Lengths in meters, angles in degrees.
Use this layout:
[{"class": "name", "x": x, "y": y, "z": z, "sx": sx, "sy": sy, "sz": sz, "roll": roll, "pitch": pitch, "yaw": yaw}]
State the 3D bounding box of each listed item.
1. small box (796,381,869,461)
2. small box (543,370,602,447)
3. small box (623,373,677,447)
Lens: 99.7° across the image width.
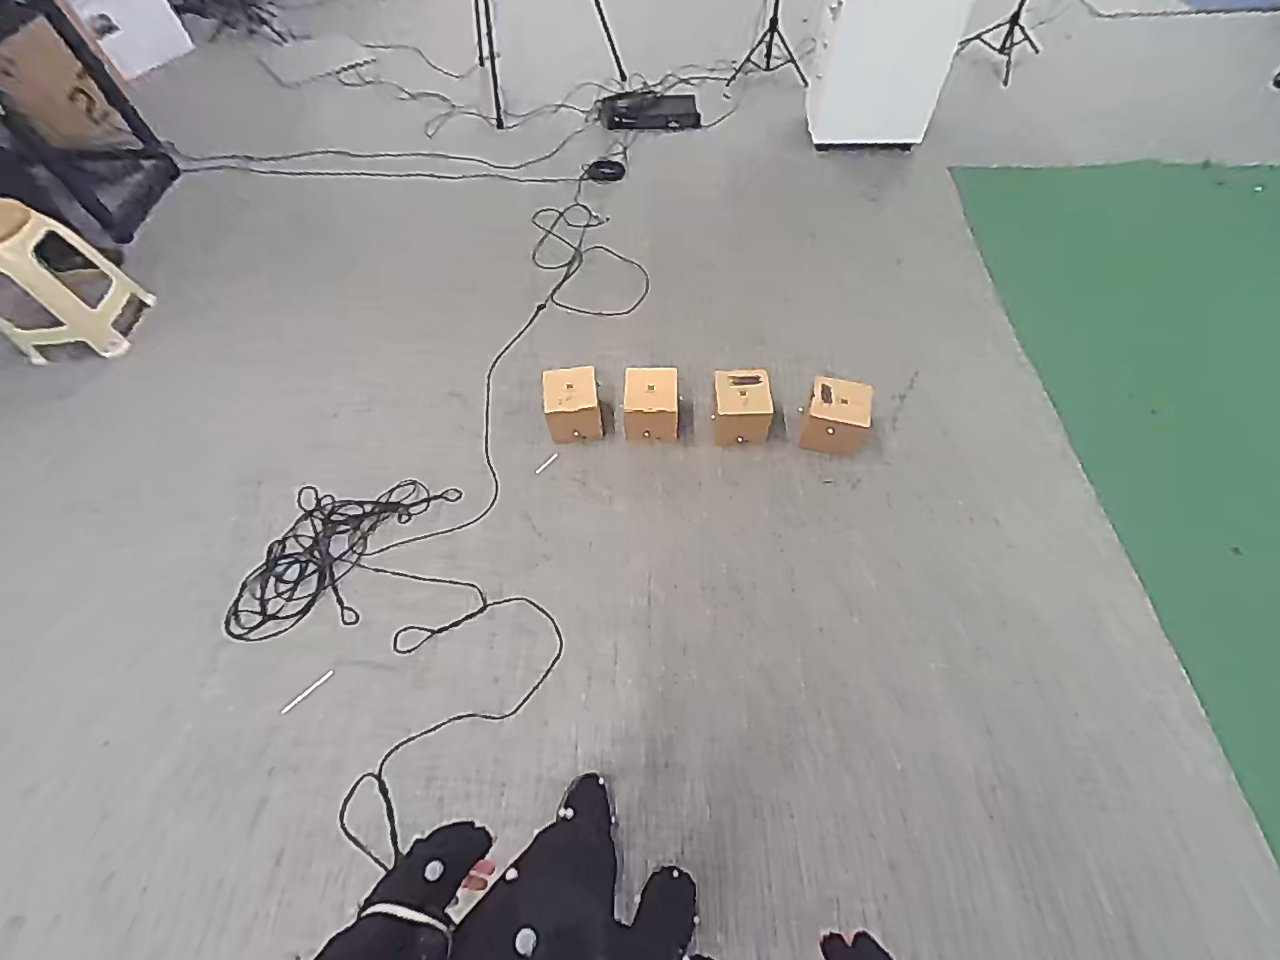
[{"class": "small box", "x": 0.600, "y": -0.181, "z": 1.699, "sx": 0.179, "sy": 0.176, "sz": 0.168, "roll": 13, "pitch": 60, "yaw": 8}, {"class": "small box", "x": -0.219, "y": -0.229, "z": 1.759, "sx": 0.168, "sy": 0.176, "sz": 0.179, "roll": -7, "pitch": 58, "yaw": -1}, {"class": "small box", "x": 0.033, "y": -0.226, "z": 1.750, "sx": 0.168, "sy": 0.176, "sz": 0.179, "roll": 0, "pitch": 59, "yaw": 2}]
